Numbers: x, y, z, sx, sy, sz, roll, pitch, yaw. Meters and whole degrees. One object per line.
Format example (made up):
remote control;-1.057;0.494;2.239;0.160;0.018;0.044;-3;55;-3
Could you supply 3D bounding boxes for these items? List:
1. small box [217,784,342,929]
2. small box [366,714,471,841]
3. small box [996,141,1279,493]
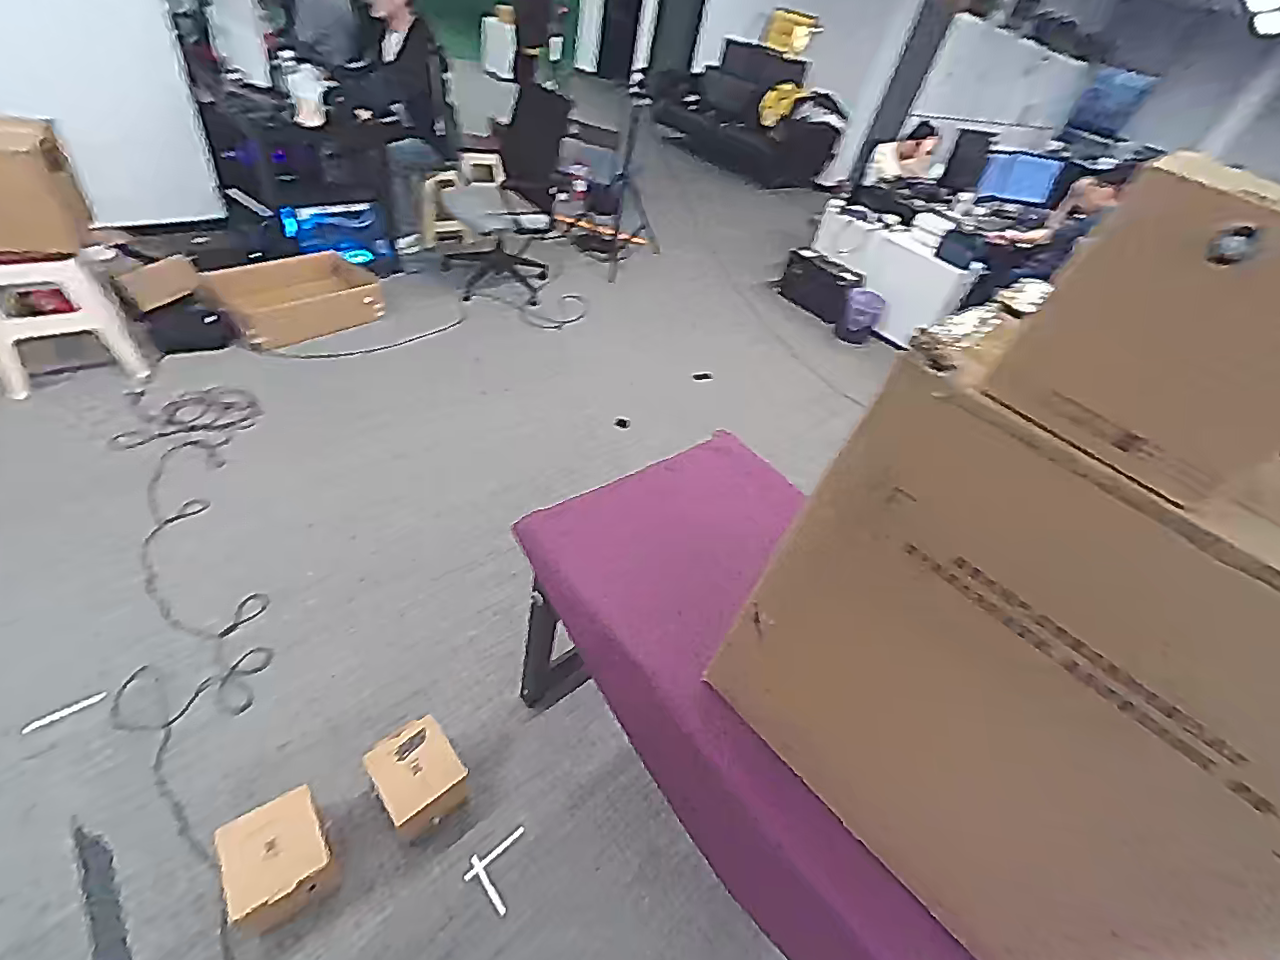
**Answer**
small box;-0.734;0.777;1.112;0.168;0.176;0.179;-19;52;-34
small box;-0.513;0.695;1.261;0.168;0.176;0.179;-26;57;-36
small box;0.406;-0.122;0.394;0.179;0.176;0.168;-28;59;-37
